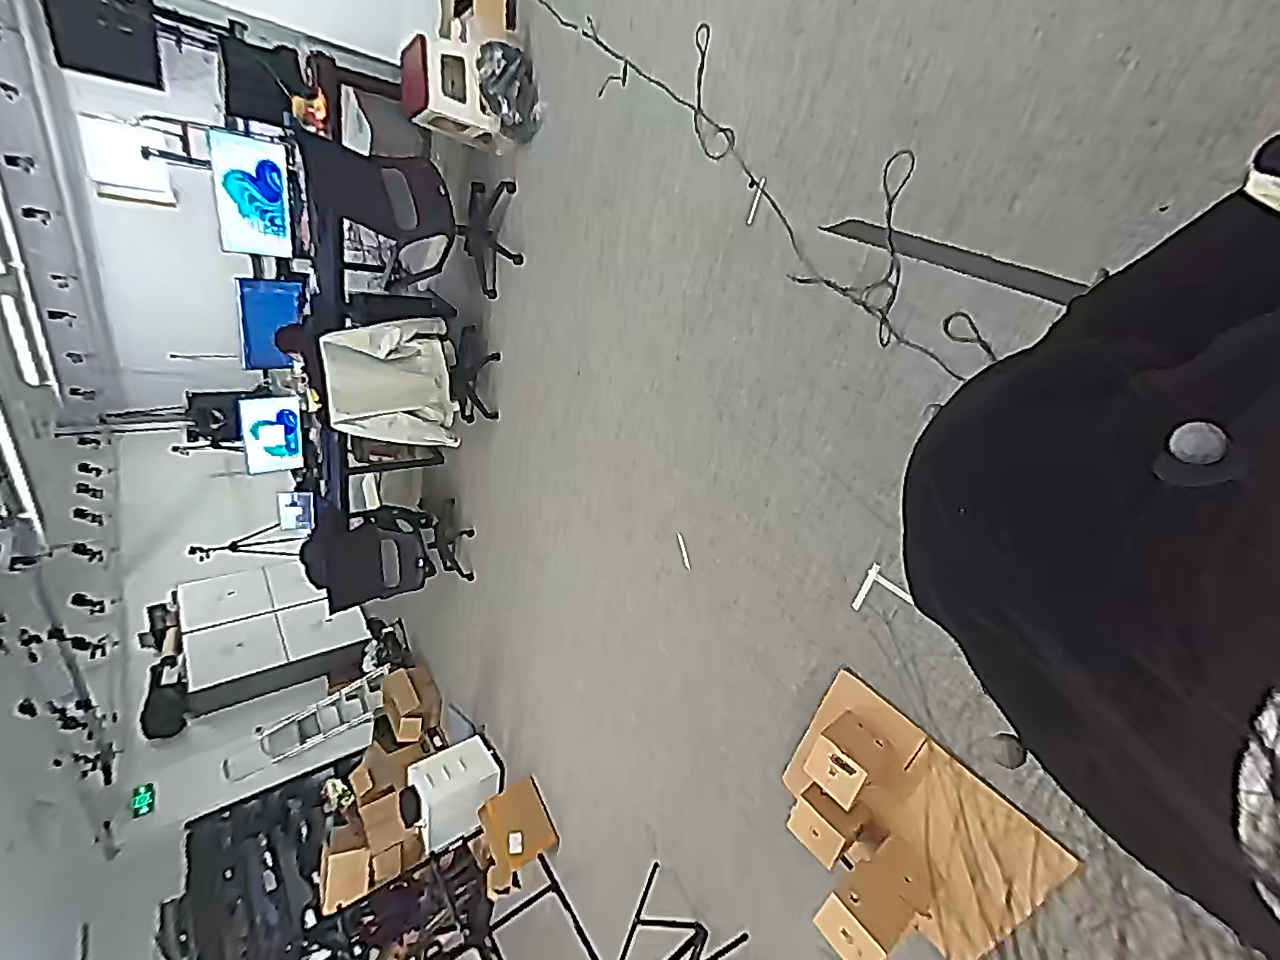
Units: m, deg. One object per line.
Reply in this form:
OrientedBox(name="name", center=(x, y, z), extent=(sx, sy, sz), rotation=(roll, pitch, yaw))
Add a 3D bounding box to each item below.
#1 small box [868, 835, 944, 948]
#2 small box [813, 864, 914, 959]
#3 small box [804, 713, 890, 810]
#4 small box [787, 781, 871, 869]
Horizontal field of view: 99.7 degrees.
OrientedBox(name="small box", center=(0.771, 1.221, 1.616), extent=(0.179, 0.176, 0.168), rotation=(33, 122, 40))
OrientedBox(name="small box", center=(0.631, 1.233, 1.526), extent=(0.179, 0.176, 0.168), rotation=(38, 127, 39))
OrientedBox(name="small box", center=(0.649, 0.867, 1.682), extent=(0.168, 0.176, 0.179), rotation=(35, 124, 40))
OrientedBox(name="small box", center=(0.621, 1.110, 1.776), extent=(0.179, 0.176, 0.168), rotation=(33, 123, 40))
